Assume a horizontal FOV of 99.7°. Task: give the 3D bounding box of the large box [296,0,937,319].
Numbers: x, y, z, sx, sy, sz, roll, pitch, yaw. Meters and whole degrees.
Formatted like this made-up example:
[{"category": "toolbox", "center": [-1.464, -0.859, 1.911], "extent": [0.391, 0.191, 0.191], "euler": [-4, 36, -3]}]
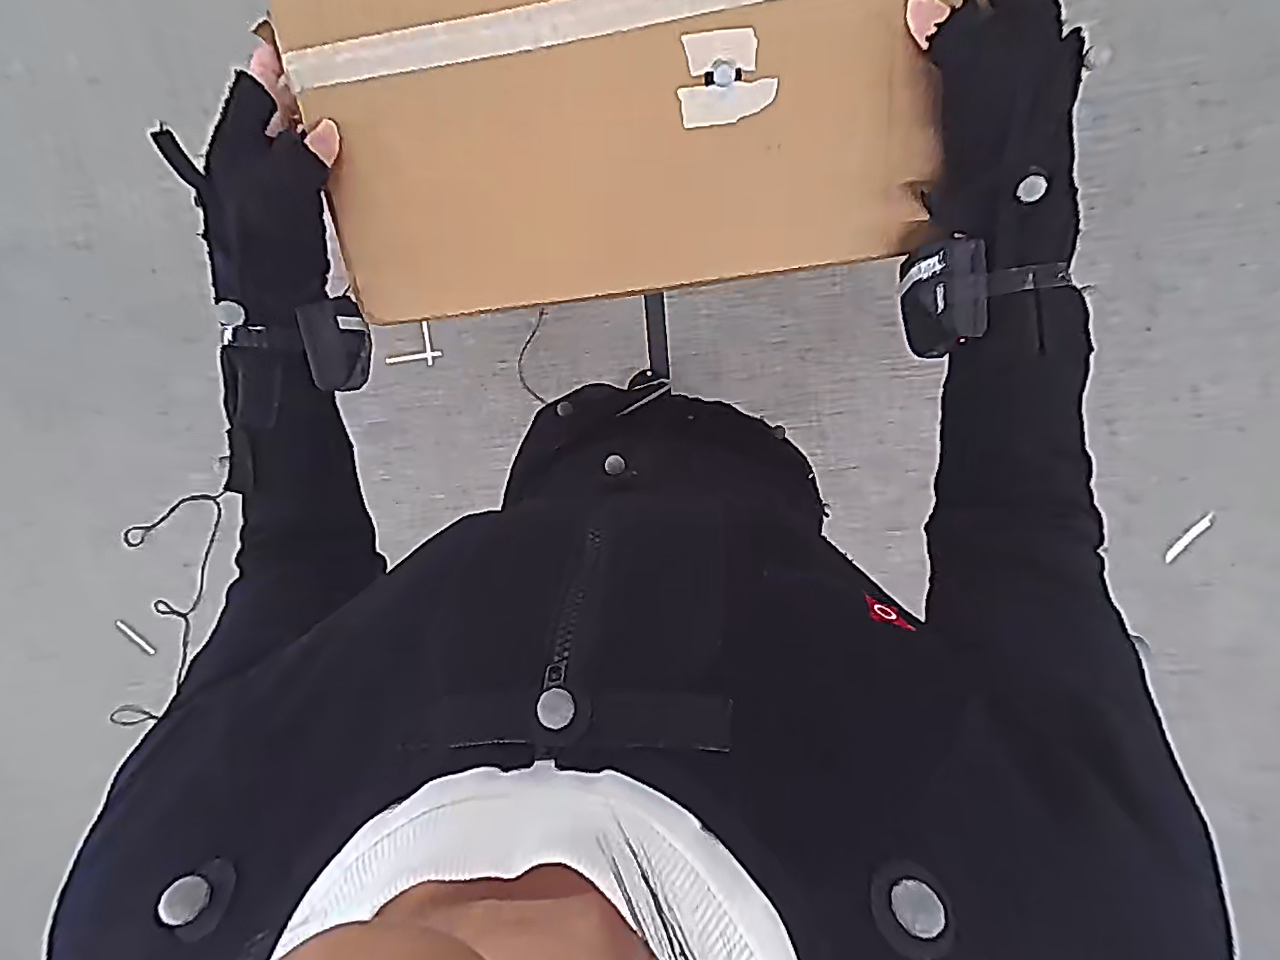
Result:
[{"category": "large box", "center": [-0.011, -0.335, 0.479], "extent": [0.408, 0.320, 0.320], "euler": [-6, 110, 6]}]
